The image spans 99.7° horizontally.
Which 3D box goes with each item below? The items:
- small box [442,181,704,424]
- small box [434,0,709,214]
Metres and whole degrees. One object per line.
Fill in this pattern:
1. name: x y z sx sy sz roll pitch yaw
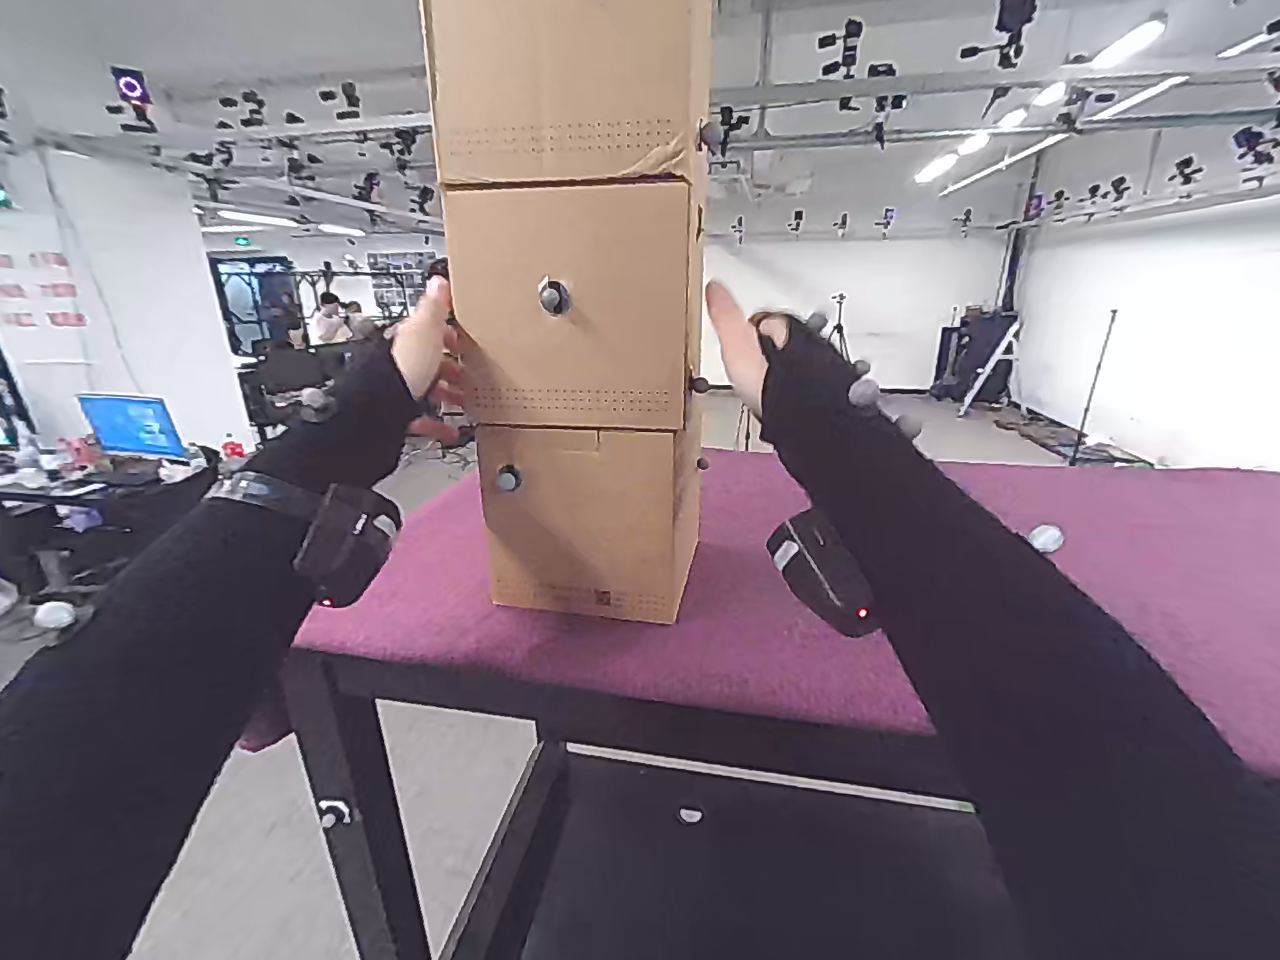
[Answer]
1. small box: -0.040 -0.145 0.466 0.179 0.176 0.168 2 18 10
2. small box: -0.042 -0.300 0.414 0.179 0.176 0.168 3 19 10
